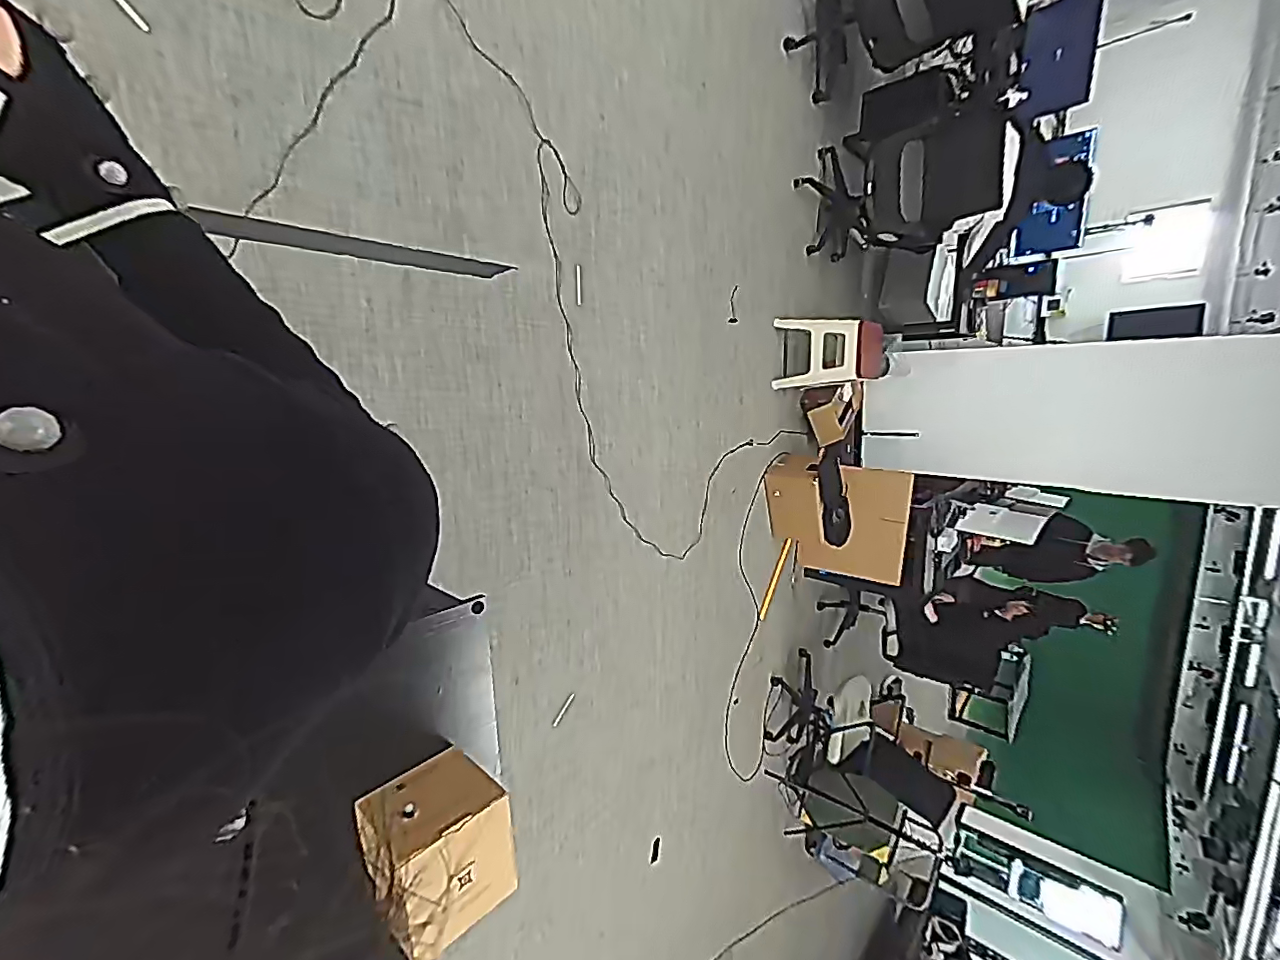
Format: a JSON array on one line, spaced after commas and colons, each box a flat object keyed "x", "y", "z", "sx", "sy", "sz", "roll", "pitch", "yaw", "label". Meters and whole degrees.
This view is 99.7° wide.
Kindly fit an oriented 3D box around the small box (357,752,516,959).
[{"x": -0.314, "y": 0.554, "z": 0.834, "sx": 0.168, "sy": 0.176, "sz": 0.179, "roll": -15, "pitch": 107, "yaw": -44, "label": "small box"}]
